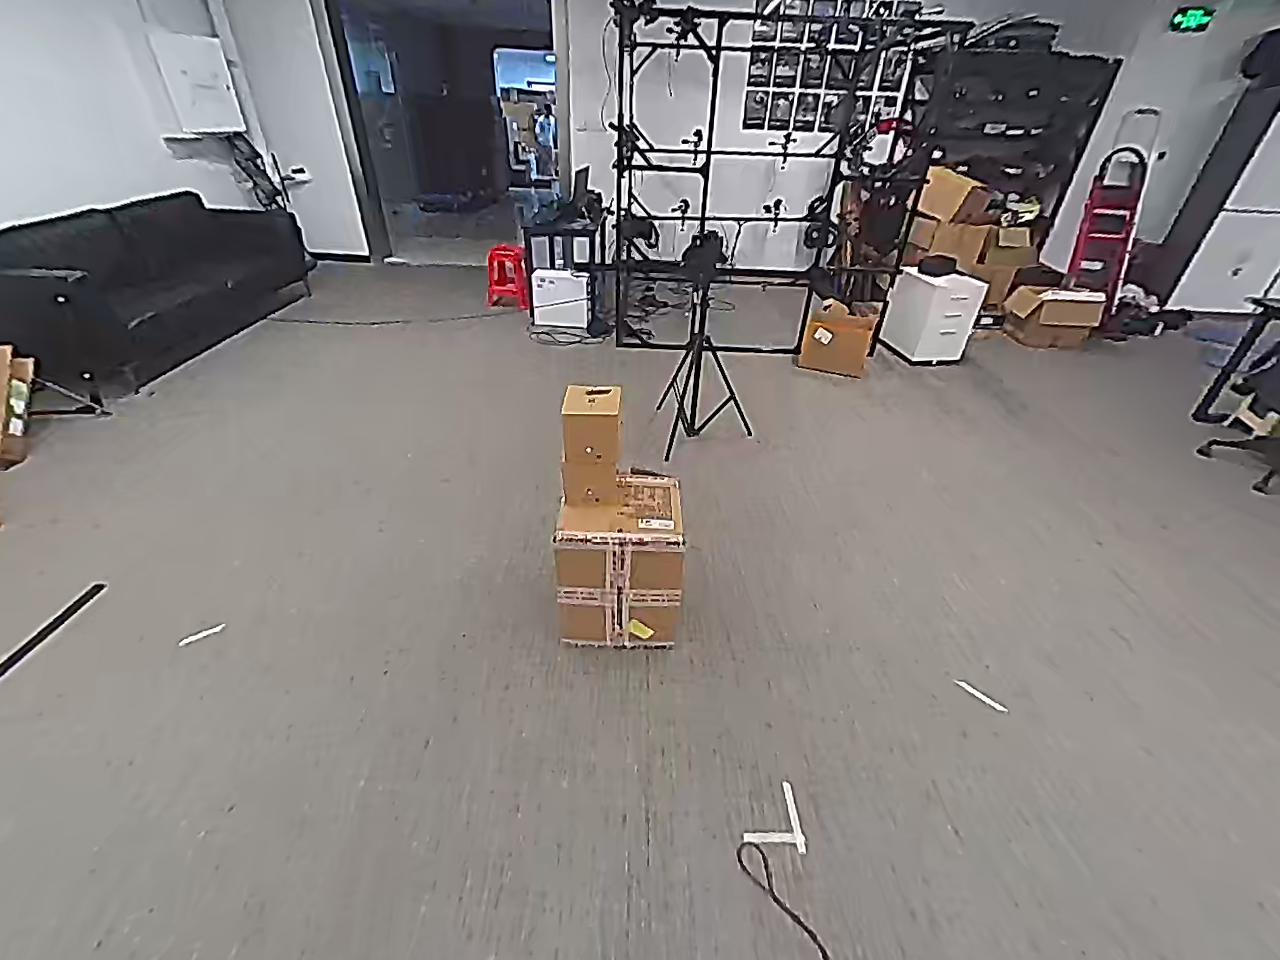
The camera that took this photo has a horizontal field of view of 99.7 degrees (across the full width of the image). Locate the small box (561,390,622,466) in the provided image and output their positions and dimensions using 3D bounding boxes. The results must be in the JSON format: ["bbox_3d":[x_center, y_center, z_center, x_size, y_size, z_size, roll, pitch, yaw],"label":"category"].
[{"bbox_3d":[-0.141,-0.159,1.639,0.168,0.176,0.179,0,37,1],"label":"small box"}]

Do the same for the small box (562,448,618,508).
[{"bbox_3d":[-0.157,-0.028,1.739,0.168,0.176,0.179,-2,36,-2],"label":"small box"}]
